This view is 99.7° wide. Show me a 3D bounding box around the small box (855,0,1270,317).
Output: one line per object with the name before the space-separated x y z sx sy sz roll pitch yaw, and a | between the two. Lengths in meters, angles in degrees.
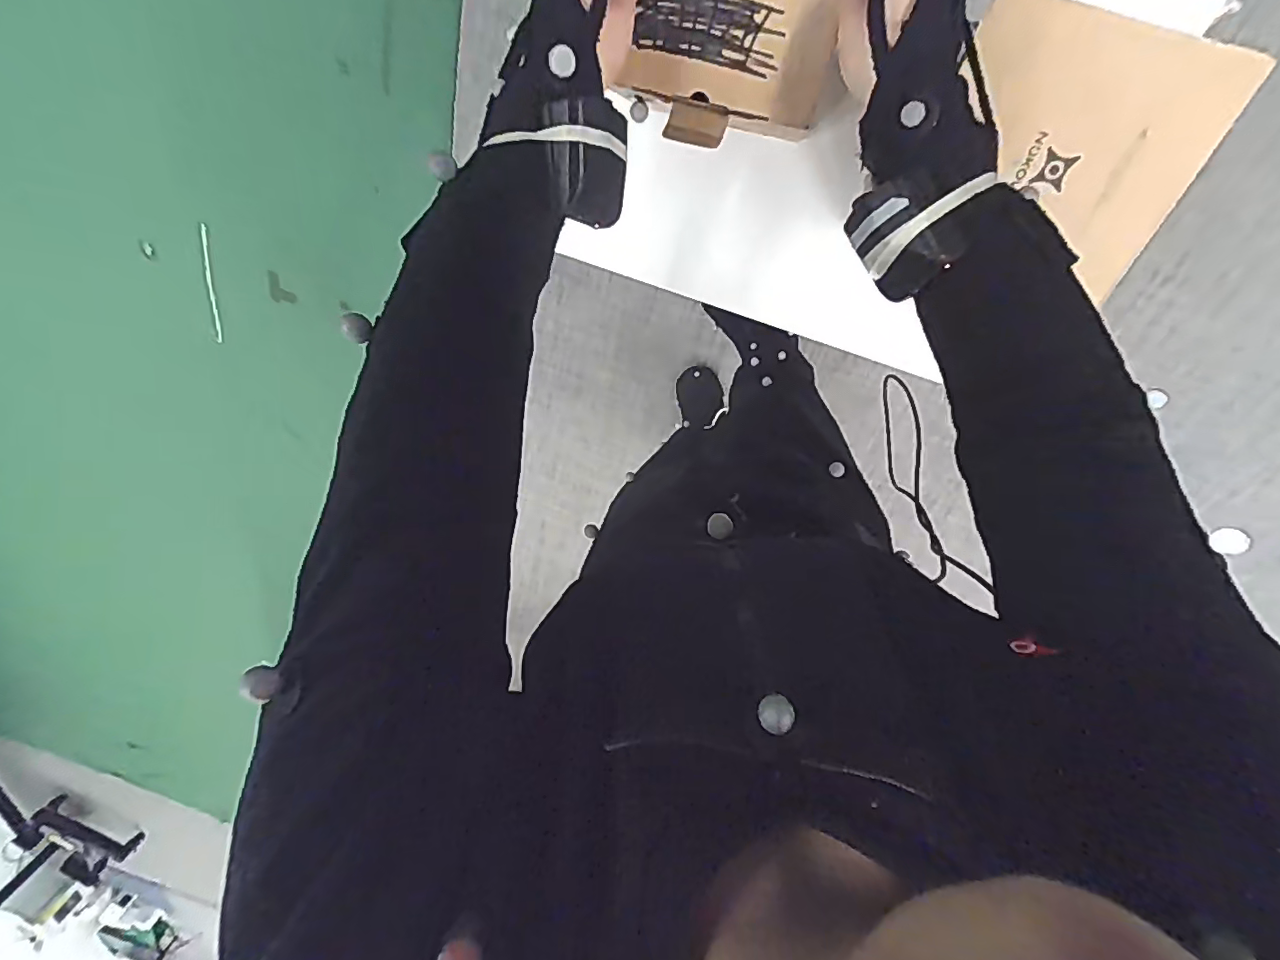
small box | 0.296 -0.253 0.439 0.179 0.176 0.168 18 123 3
